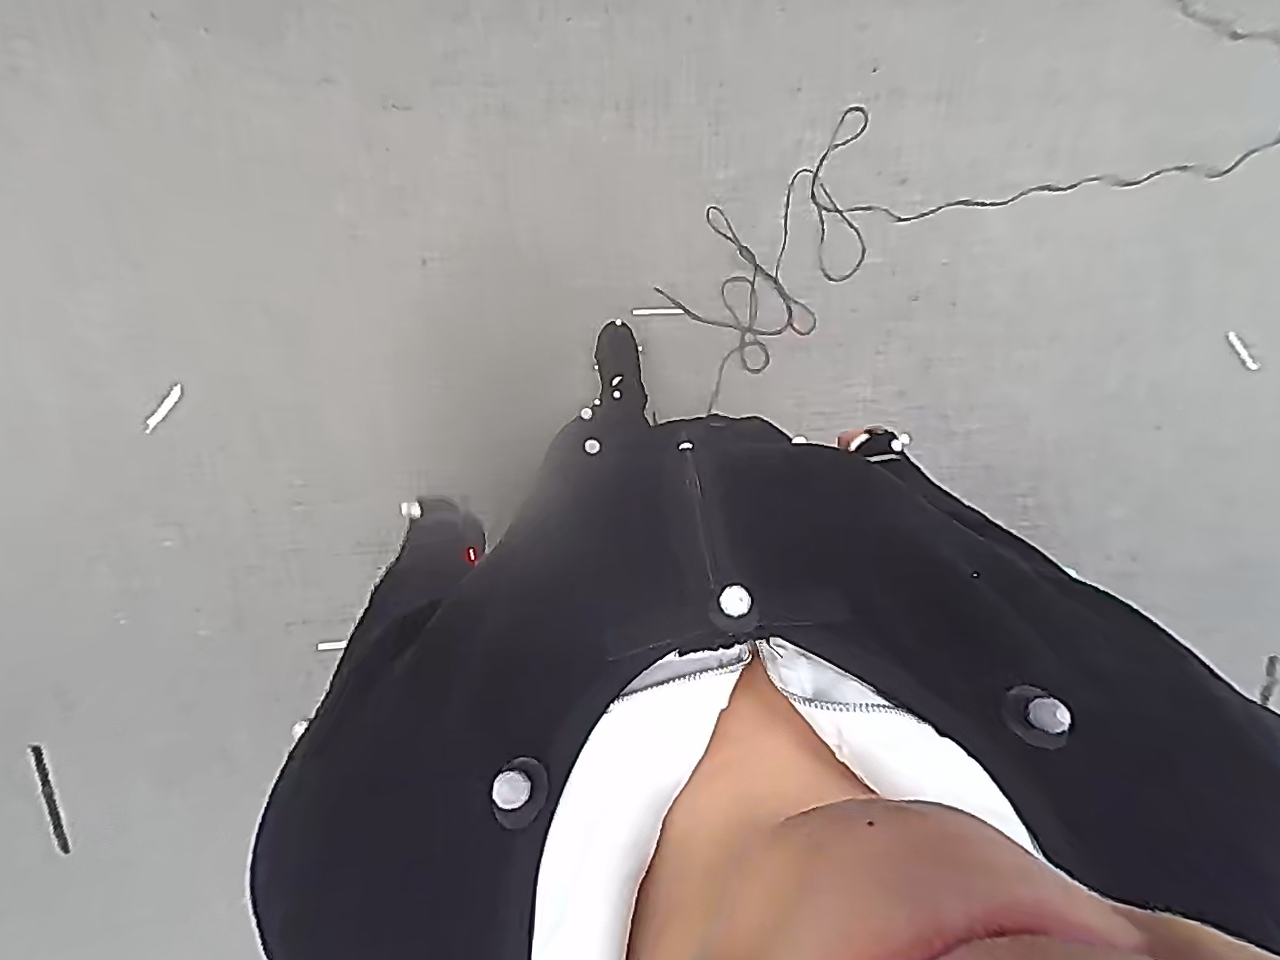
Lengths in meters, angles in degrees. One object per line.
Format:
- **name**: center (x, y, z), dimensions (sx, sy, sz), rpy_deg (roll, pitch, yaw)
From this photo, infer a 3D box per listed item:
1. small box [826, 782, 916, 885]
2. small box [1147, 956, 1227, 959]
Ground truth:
- **small box**: center (0.685, 1.060, 1.631), dimensions (0.168, 0.176, 0.179), rpy_deg (18, 98, -6)
- **small box**: center (0.938, 0.917, 0.871), dimensions (0.179, 0.176, 0.168), rpy_deg (-3, 100, -1)
